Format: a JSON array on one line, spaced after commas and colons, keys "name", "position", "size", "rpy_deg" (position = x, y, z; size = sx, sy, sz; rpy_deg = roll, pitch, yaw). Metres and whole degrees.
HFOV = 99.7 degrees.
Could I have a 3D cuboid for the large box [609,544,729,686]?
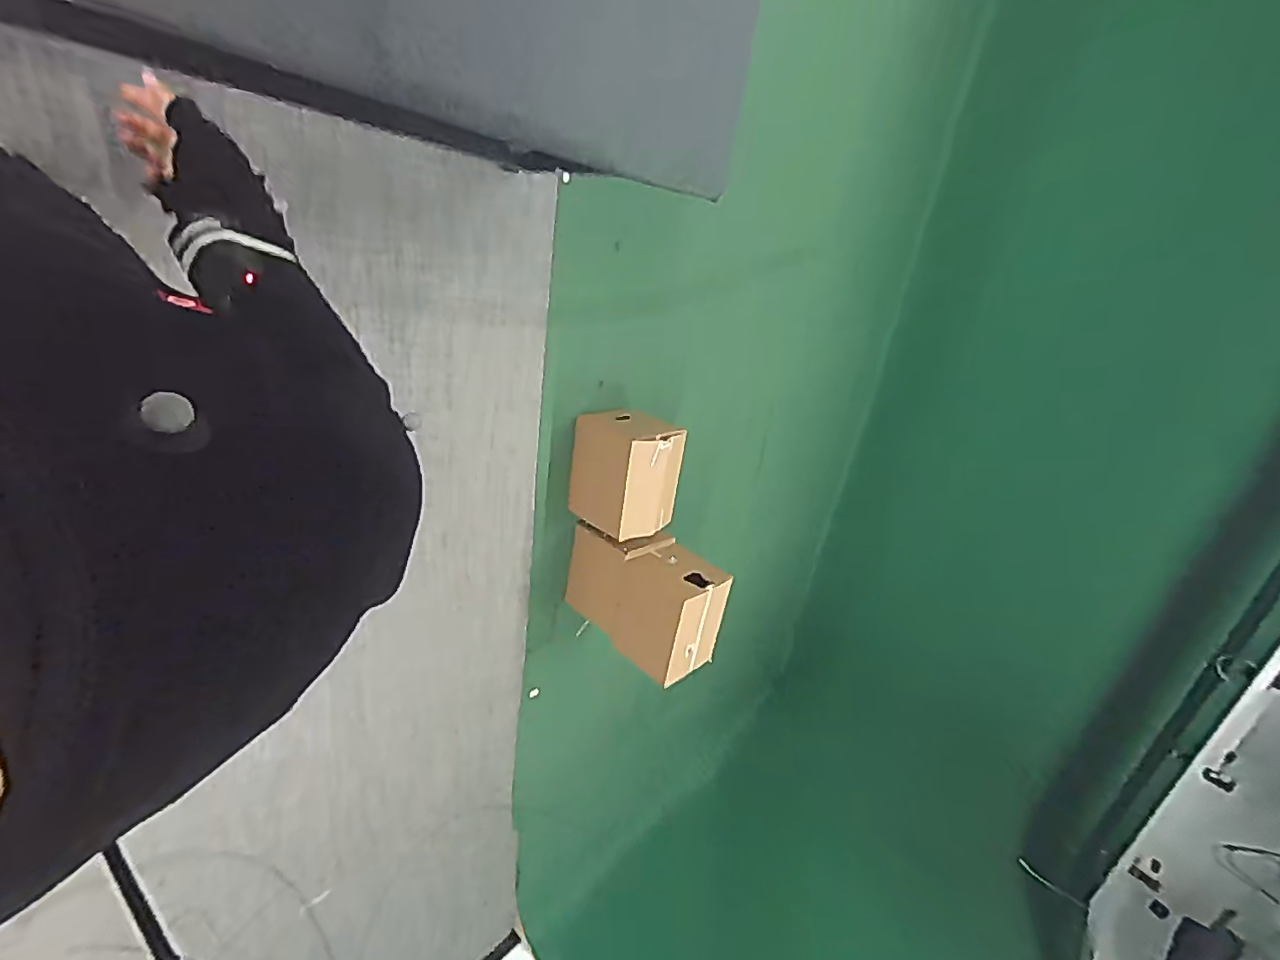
[{"name": "large box", "position": [0.110, 0.529, 2.182], "size": [0.320, 0.320, 0.408], "rpy_deg": [-11, 121, -45]}]
